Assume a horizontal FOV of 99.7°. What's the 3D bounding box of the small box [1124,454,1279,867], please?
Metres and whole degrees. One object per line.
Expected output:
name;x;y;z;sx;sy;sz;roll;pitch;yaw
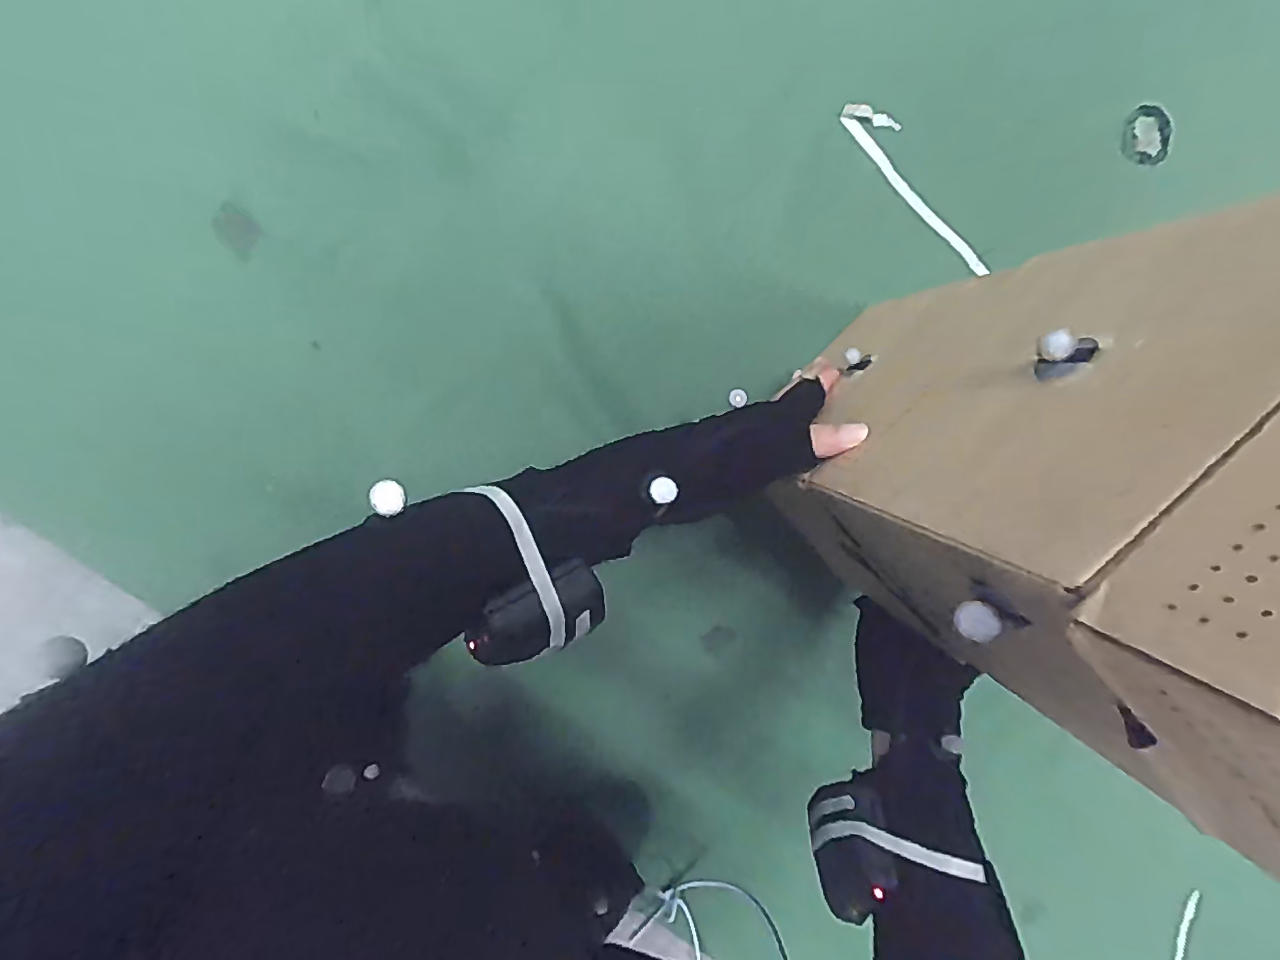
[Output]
small box;0.240;0.045;0.074;0.168;0.176;0.179;44;93;-12

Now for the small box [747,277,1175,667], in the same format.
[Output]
small box;0.198;-0.011;0.394;0.168;0.176;0.179;43;94;-12
